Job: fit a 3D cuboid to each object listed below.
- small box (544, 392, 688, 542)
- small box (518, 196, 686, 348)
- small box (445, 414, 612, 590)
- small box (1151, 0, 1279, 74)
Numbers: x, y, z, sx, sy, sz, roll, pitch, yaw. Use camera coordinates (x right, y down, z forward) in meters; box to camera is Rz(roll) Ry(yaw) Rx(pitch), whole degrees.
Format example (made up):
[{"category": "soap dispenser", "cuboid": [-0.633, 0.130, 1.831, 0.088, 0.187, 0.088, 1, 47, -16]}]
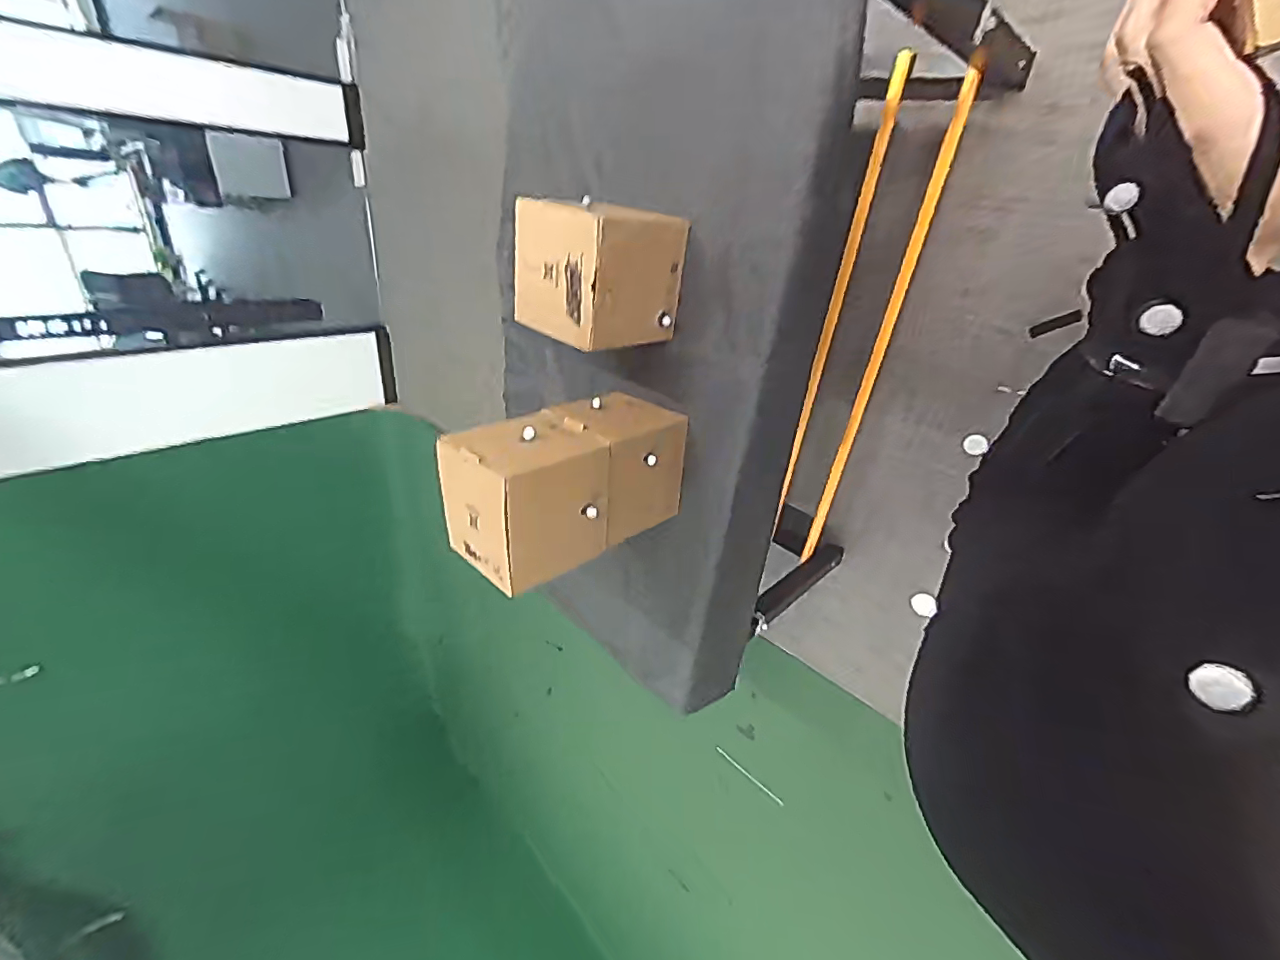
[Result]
[{"category": "small box", "cuboid": [-0.038, -0.033, 0.876, 0.168, 0.176, 0.179, 26, 125, 39]}, {"category": "small box", "cuboid": [-0.056, -0.304, 0.777, 0.179, 0.176, 0.168, 31, 127, 35]}, {"category": "small box", "cuboid": [-0.154, 0.018, 0.771, 0.168, 0.176, 0.179, 27, 124, 38]}, {"category": "small box", "cuboid": [0.308, -0.296, 0.198, 0.168, 0.176, 0.179, -11, 108, 37]}]
